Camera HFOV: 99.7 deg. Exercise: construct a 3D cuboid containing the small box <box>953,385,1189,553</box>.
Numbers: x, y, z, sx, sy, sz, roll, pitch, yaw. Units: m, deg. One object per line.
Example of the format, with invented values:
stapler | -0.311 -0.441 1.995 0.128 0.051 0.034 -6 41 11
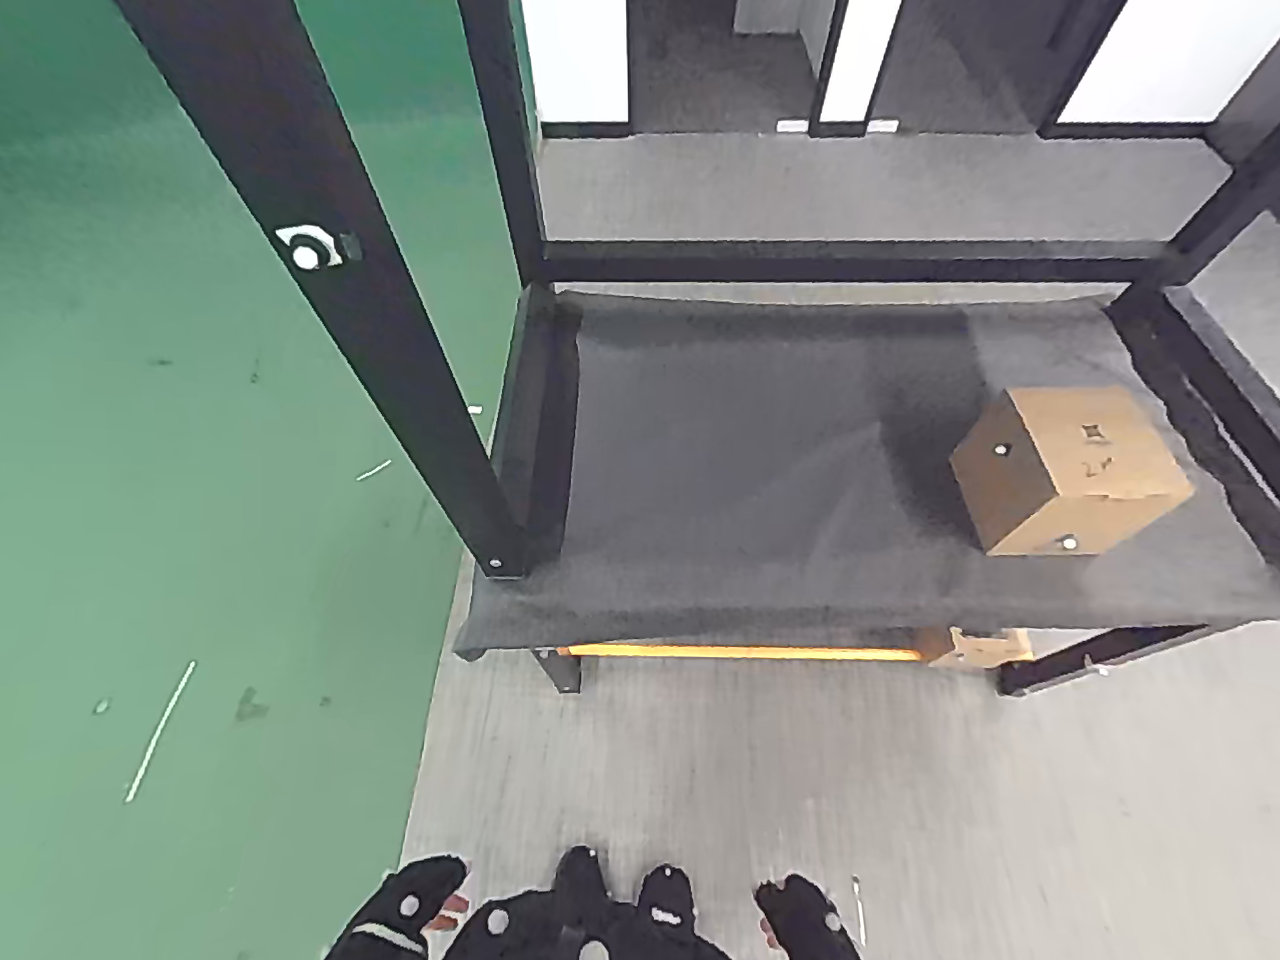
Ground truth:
small box | 0.578 -0.014 0.761 0.168 0.176 0.179 -1 56 1
